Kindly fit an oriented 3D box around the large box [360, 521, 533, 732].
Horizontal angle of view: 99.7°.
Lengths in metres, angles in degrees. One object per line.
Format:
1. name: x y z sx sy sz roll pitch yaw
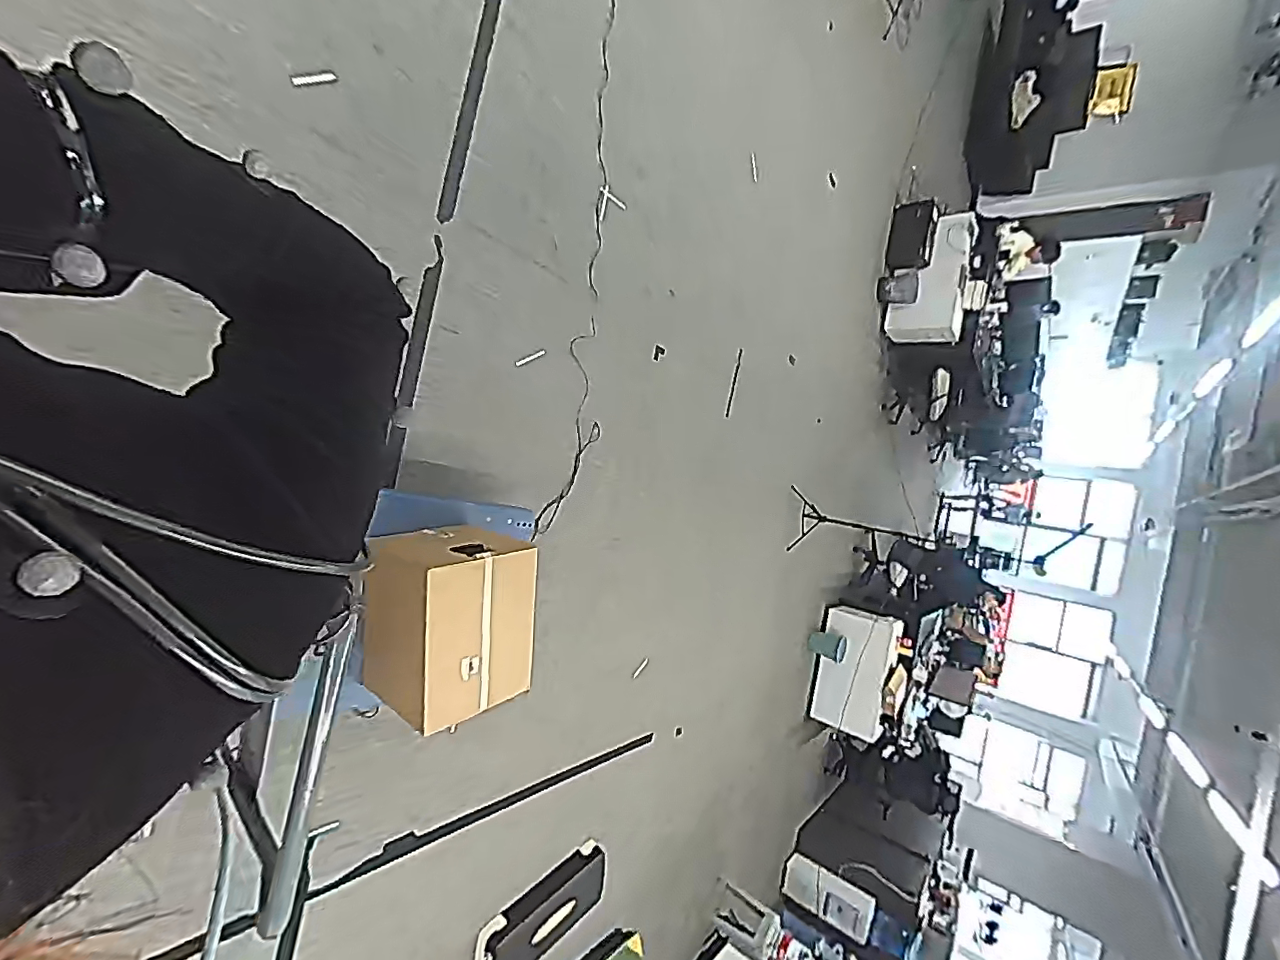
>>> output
1. large box: -0.504 0.348 1.407 0.320 0.320 0.408 -5 103 -50
